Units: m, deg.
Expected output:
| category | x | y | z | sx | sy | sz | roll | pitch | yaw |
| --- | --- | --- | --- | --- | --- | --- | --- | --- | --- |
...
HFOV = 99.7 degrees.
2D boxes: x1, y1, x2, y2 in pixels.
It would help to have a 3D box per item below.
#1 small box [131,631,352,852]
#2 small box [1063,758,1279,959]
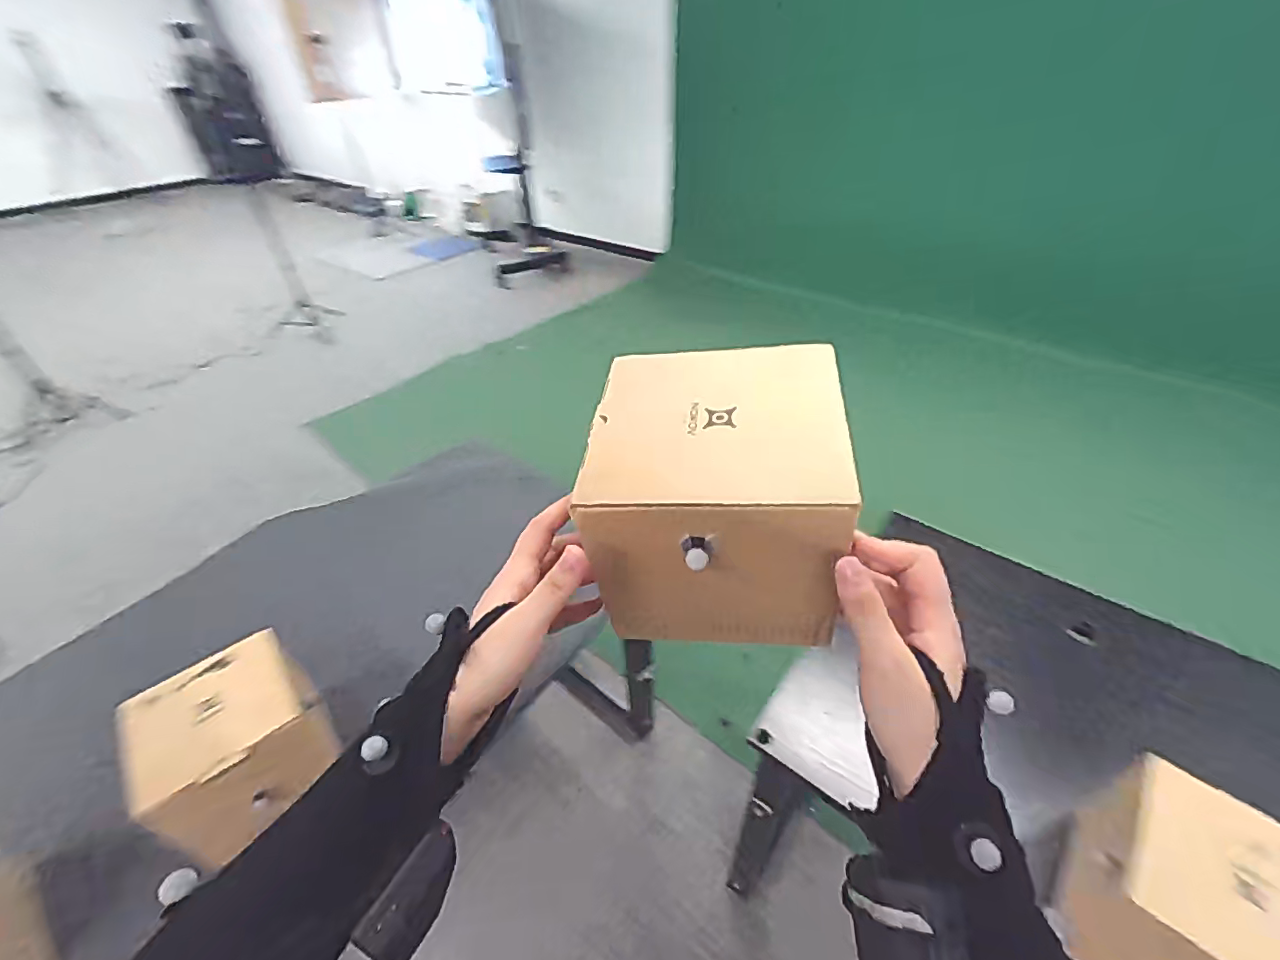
| category | x | y | z | sx | sy | sz | roll | pitch | yaw |
| --- | --- | --- | --- | --- | --- | --- | --- | --- | --- |
| small box | -0.509 | 0.343 | 0.706 | 0.168 | 0.176 | 0.179 | -30 | 46 | -29 |
| small box | 0.569 | 0.436 | 0.544 | 0.168 | 0.176 | 0.179 | 30 | 49 | 31 |
